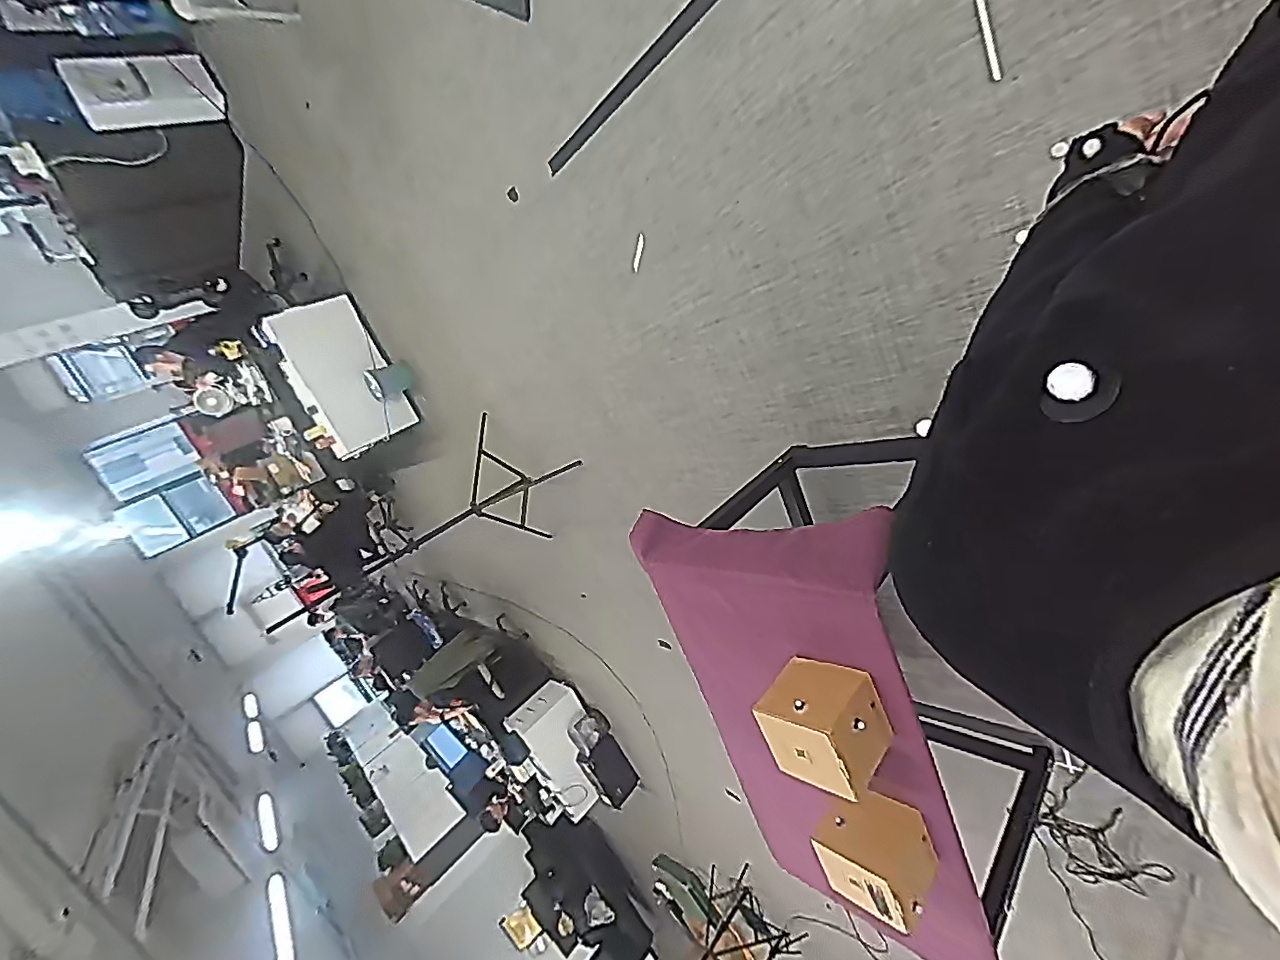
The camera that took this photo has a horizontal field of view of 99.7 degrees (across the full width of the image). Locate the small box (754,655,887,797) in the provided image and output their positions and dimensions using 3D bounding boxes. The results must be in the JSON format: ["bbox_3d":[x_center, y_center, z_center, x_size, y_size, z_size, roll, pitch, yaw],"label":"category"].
[{"bbox_3d":[0.365,0.474,1.073,0.179,0.176,0.168,-7,114,53],"label":"small box"}]
